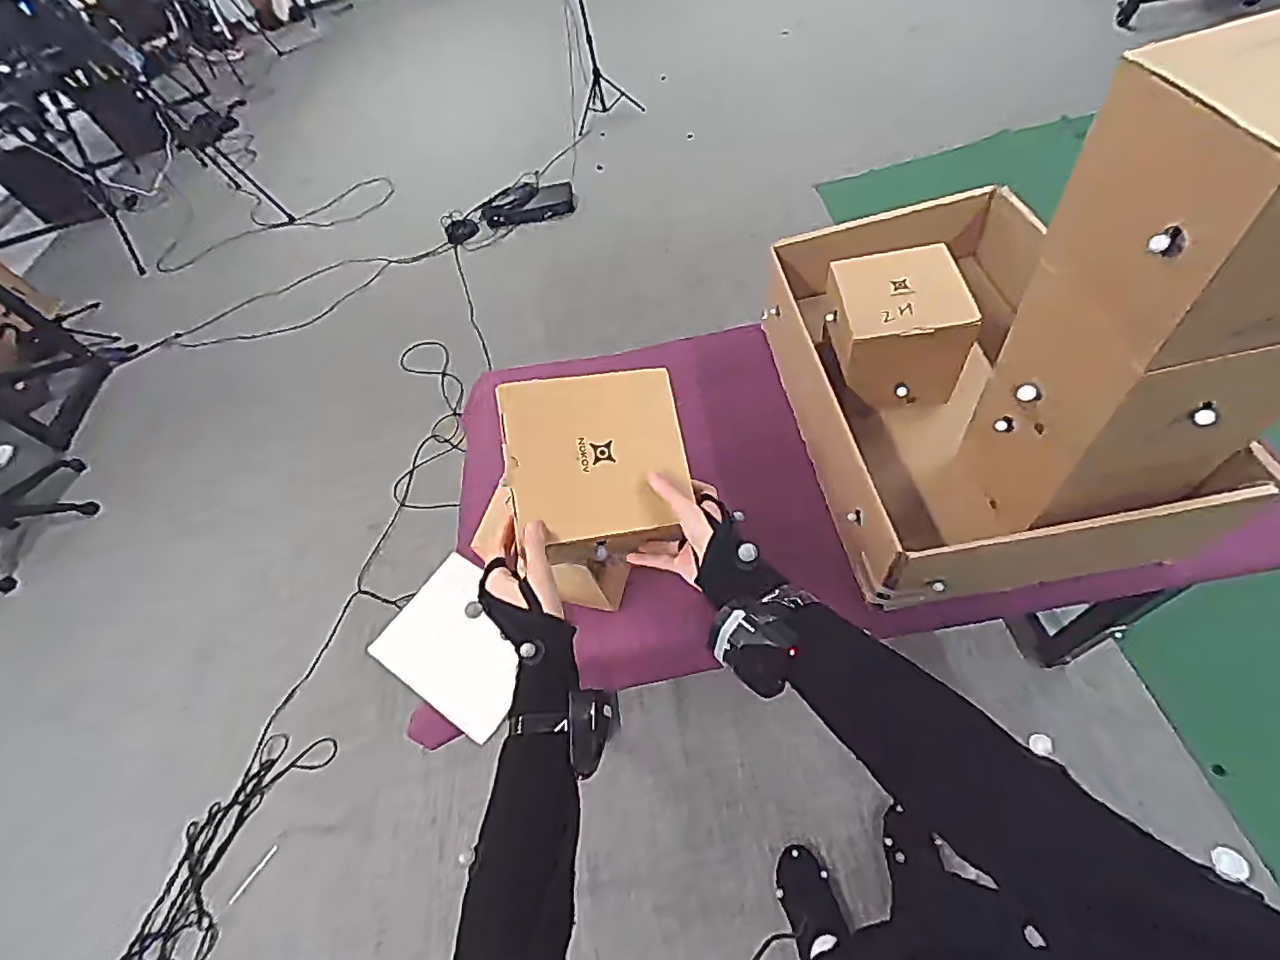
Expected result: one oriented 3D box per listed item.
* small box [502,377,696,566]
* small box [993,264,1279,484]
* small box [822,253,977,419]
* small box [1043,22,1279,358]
[{"bbox_3d":[-0.054,-0.001,0.601,0.179,0.176,0.168,-6,76,-11],"label":"small box"},{"bbox_3d":[0.499,-0.117,0.540,0.179,0.176,0.168,-12,54,8],"label":"small box"},{"bbox_3d":[0.385,-0.219,0.841,0.168,0.176,0.179,-5,56,10],"label":"small box"},{"bbox_3d":[0.461,-0.213,0.413,0.168,0.176,0.179,-11,53,8],"label":"small box"}]
